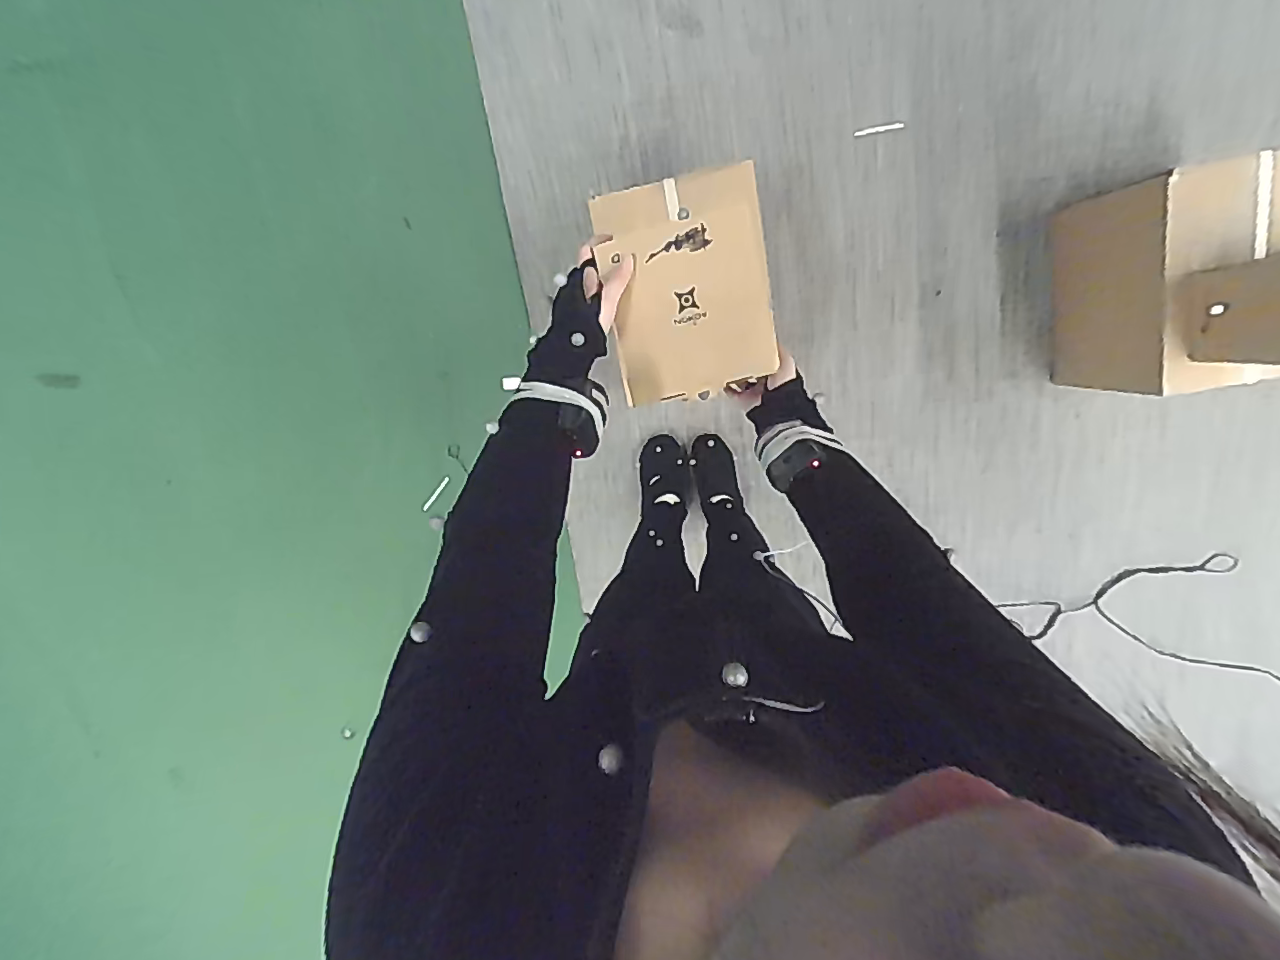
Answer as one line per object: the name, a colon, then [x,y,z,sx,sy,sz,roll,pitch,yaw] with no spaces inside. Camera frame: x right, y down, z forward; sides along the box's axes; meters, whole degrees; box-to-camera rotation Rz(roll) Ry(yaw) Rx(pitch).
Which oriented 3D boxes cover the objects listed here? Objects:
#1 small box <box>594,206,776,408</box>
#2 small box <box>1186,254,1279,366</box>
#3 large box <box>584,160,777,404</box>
small box: [0.055,-0.198,0.647,0.168,0.176,0.179,-13,103,7]
small box: [1.102,-0.297,0.919,0.179,0.176,0.168,-11,104,7]
large box: [0.093,-0.402,1.185,0.320,0.320,0.408,-10,103,5]
